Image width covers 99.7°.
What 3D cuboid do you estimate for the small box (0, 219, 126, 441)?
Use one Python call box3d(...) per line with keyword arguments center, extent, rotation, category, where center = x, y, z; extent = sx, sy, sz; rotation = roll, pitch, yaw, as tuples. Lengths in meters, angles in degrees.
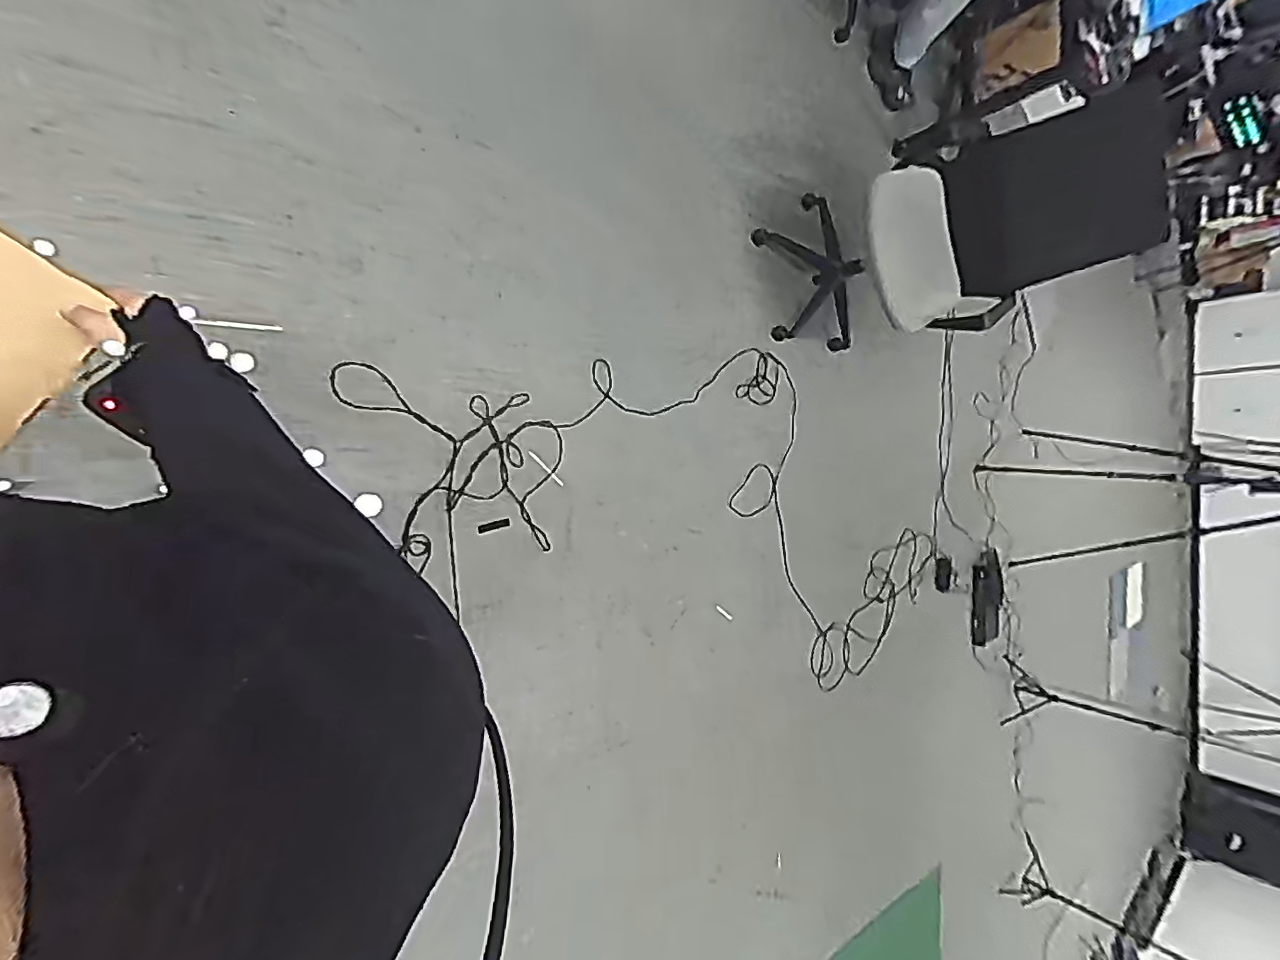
box3d(center=(-0.617, -0.162, 0.478), extent=(0.168, 0.176, 0.179), rotation=(-58, 138, -12), category="small box")
